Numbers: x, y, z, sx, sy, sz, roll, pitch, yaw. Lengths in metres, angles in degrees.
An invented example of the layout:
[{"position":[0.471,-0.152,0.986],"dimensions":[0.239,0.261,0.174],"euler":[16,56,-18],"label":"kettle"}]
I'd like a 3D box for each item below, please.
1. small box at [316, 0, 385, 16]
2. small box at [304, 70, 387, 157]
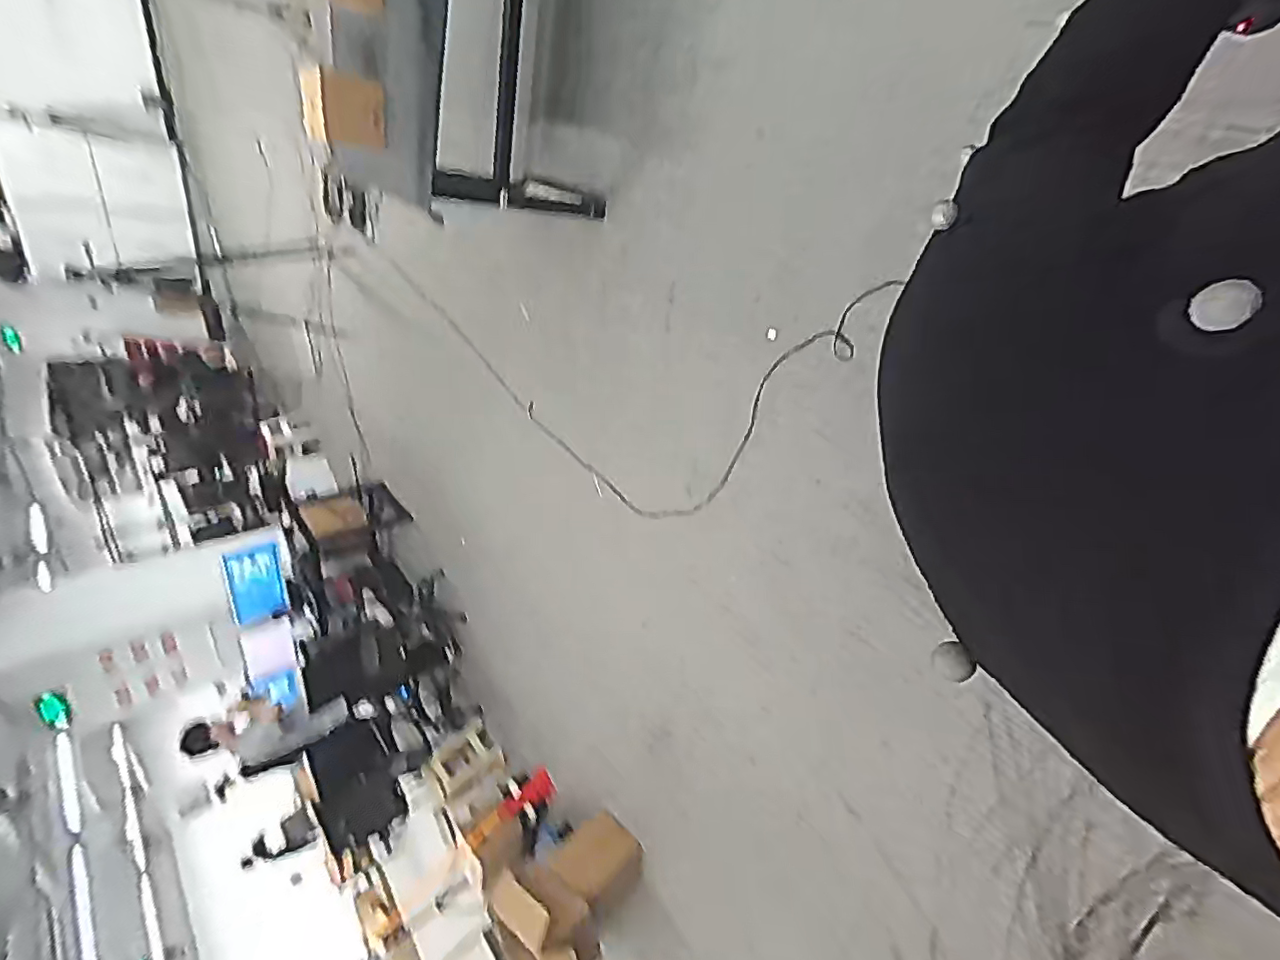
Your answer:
[{"position":[-0.778,-1.344,1.407],"dimensions":[0.168,0.176,0.179],"euler":[36,126,34],"label":"small box"},{"position":[-0.854,-1.066,1.577],"dimensions":[0.168,0.176,0.179],"euler":[33,124,36],"label":"small box"}]
